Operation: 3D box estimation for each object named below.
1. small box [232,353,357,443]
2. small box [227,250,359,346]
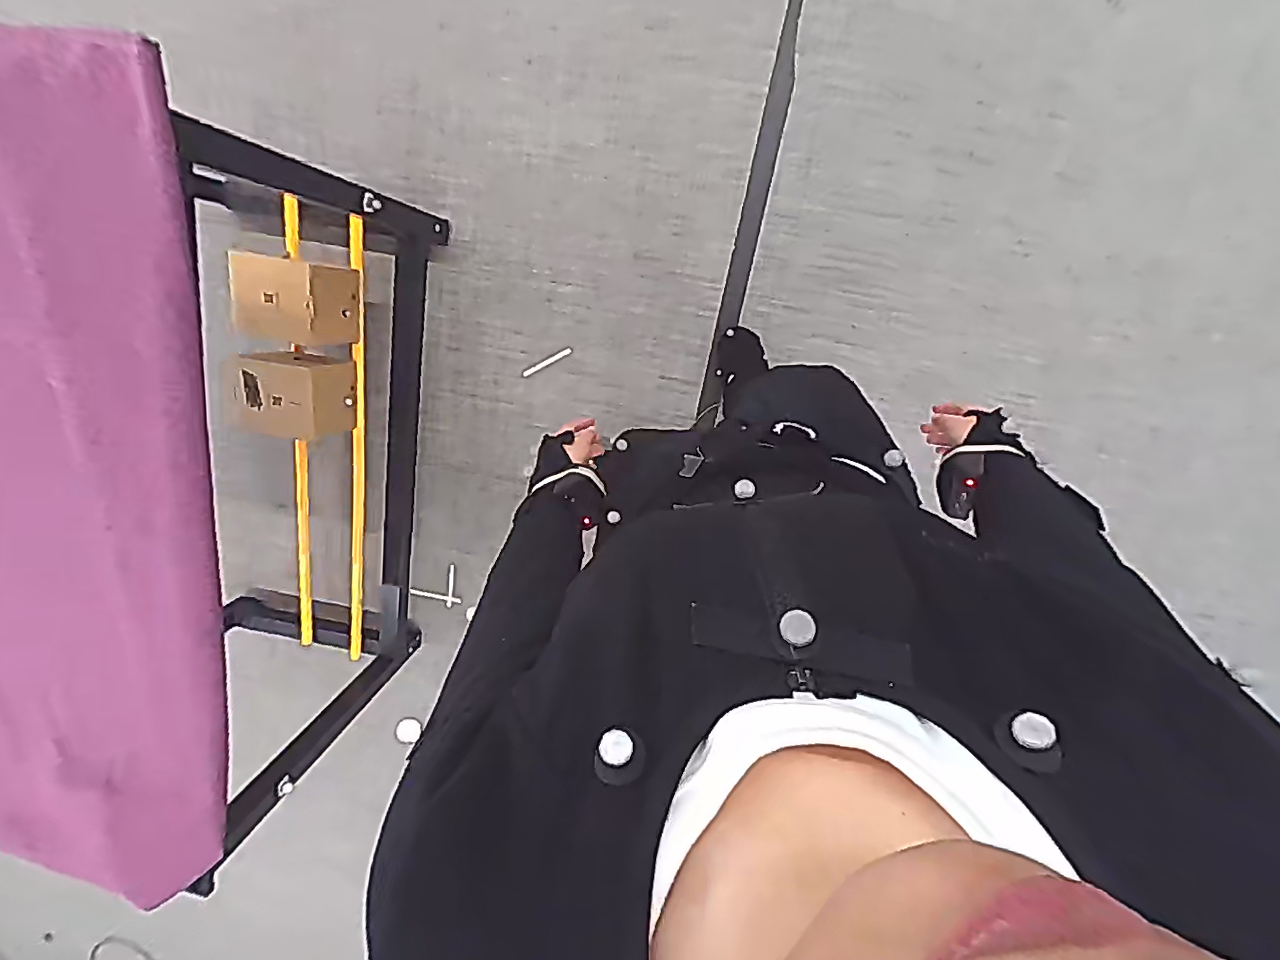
[{"bbox_3d":[-0.776,-0.193,1.229,0.179,0.176,0.168,10,107,2],"label":"small box"},{"bbox_3d":[-0.740,-0.387,1.167,0.179,0.176,0.168,10,107,2],"label":"small box"}]
